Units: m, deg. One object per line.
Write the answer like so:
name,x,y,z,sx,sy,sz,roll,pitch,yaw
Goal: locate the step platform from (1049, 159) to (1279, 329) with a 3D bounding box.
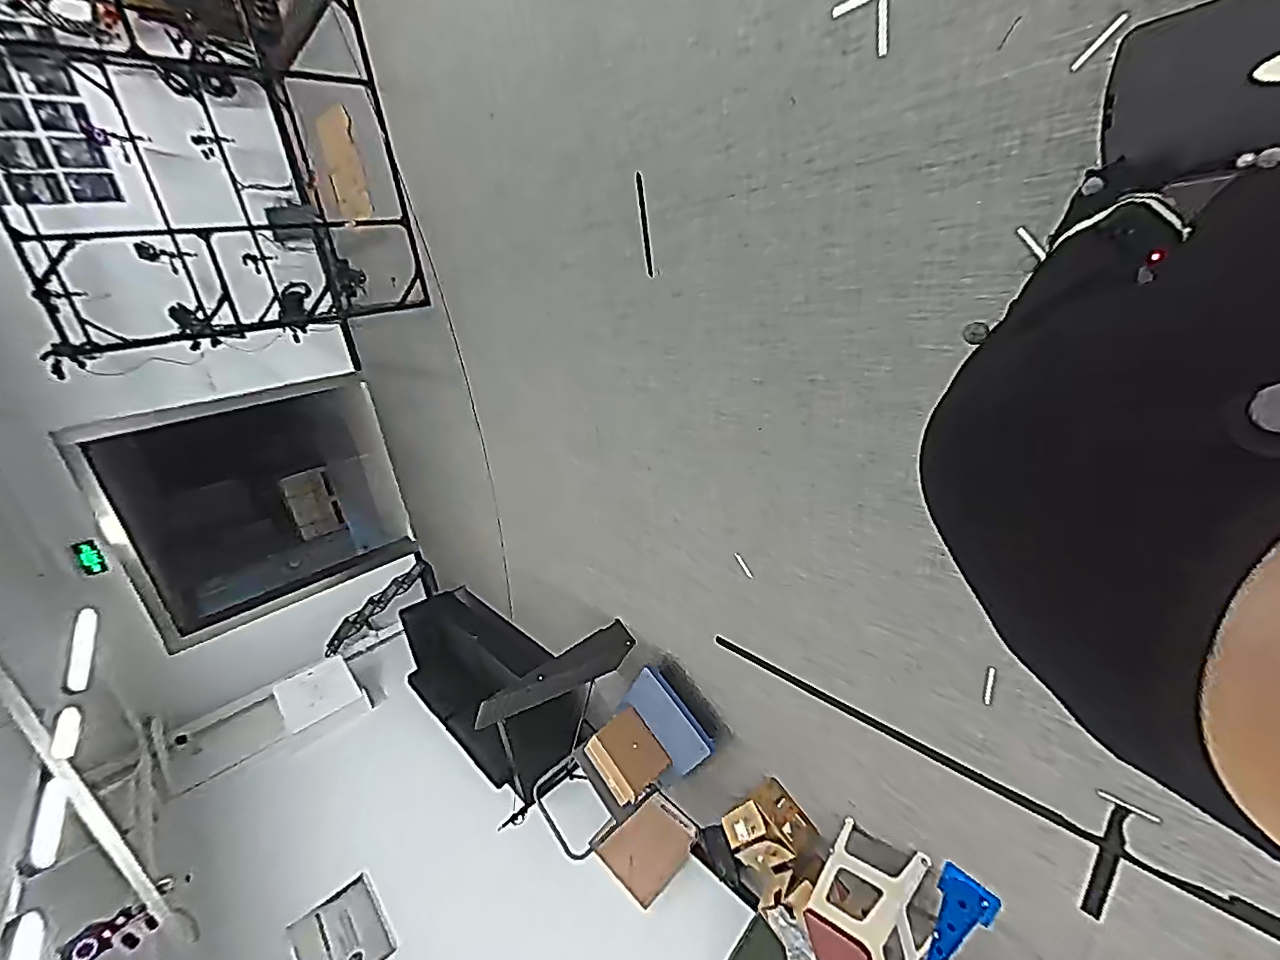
step platform,1.176,-0.433,0.987,0.684,0.204,0.286,16,121,48
